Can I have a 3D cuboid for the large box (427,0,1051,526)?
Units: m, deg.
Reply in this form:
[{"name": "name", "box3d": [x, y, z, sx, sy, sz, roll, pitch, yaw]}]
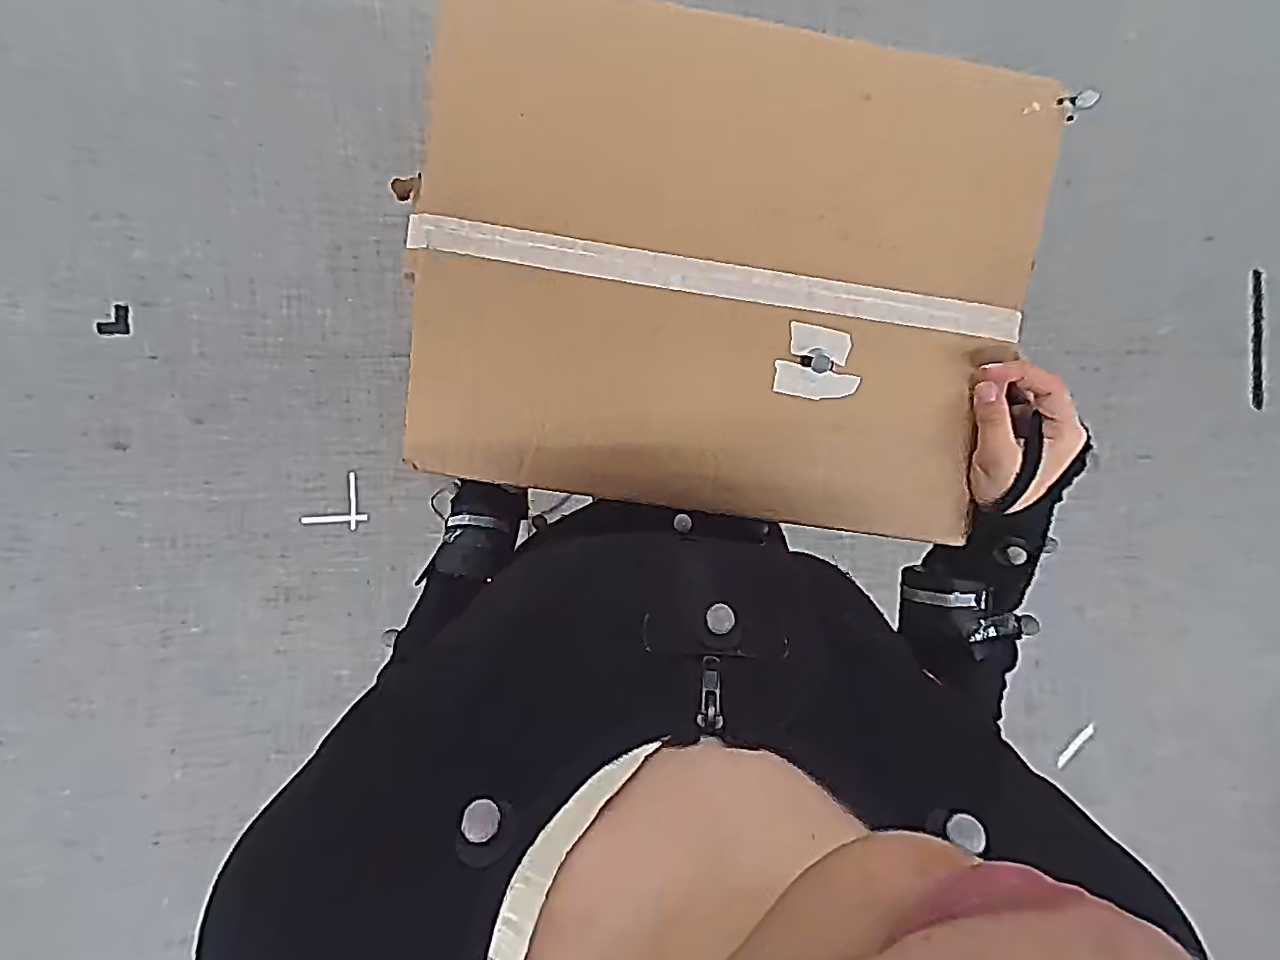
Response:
[{"name": "large box", "box3d": [0.053, -0.157, 0.515, 0.408, 0.320, 0.320, 7, 99, -5]}]
